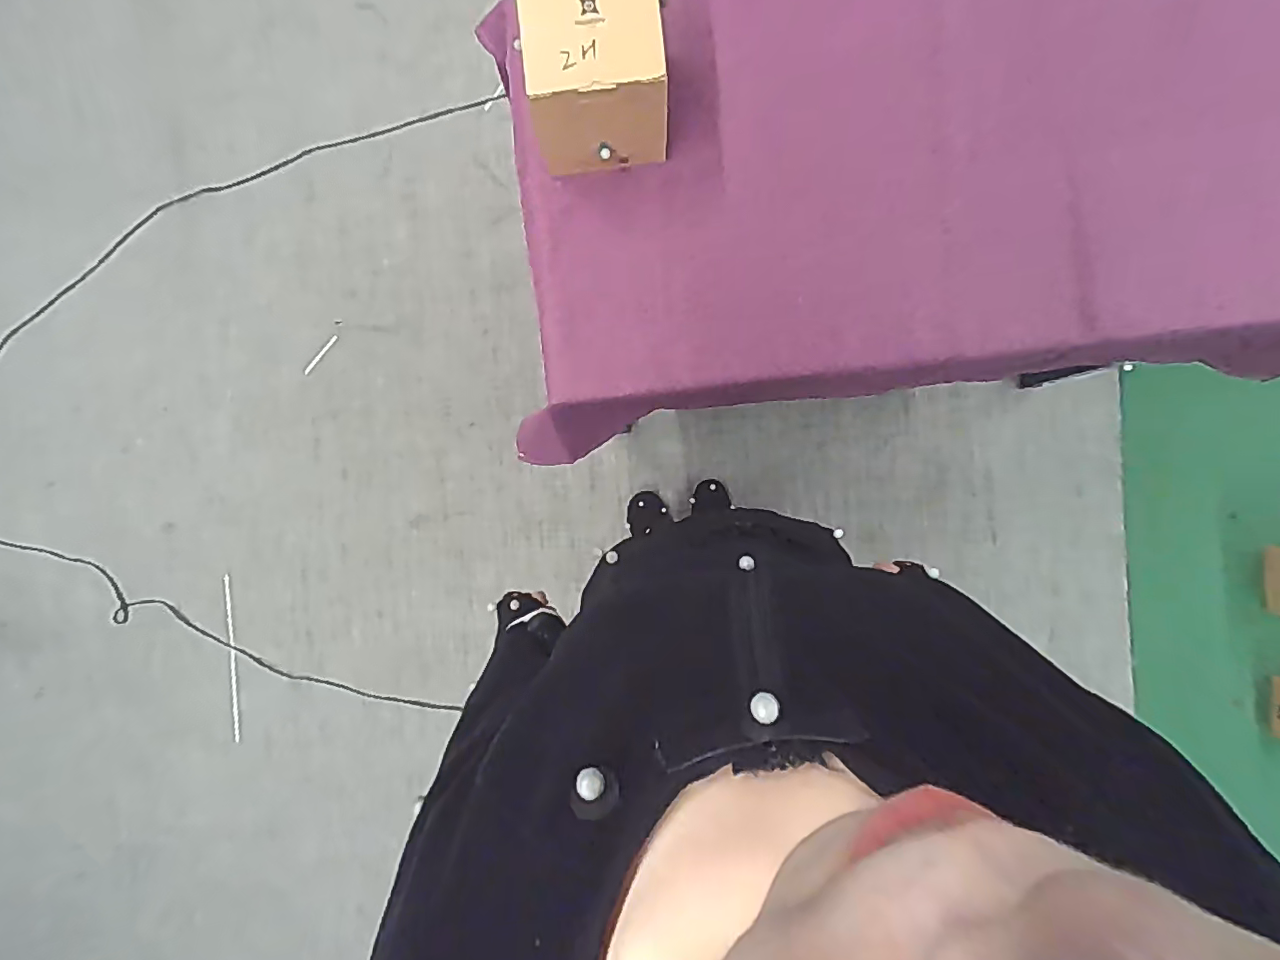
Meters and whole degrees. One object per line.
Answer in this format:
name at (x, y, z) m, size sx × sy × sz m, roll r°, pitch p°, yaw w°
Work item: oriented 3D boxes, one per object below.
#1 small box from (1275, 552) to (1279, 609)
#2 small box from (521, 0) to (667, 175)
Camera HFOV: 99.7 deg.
small box at (1.750, 0.273, 1.340) m, size 0.168 × 0.176 × 0.179 m, roll -1°, pitch 88°, yaw 3°
small box at (-0.054, -0.538, 0.709) m, size 0.168 × 0.176 × 0.179 m, roll -6°, pitch 90°, yaw 3°
